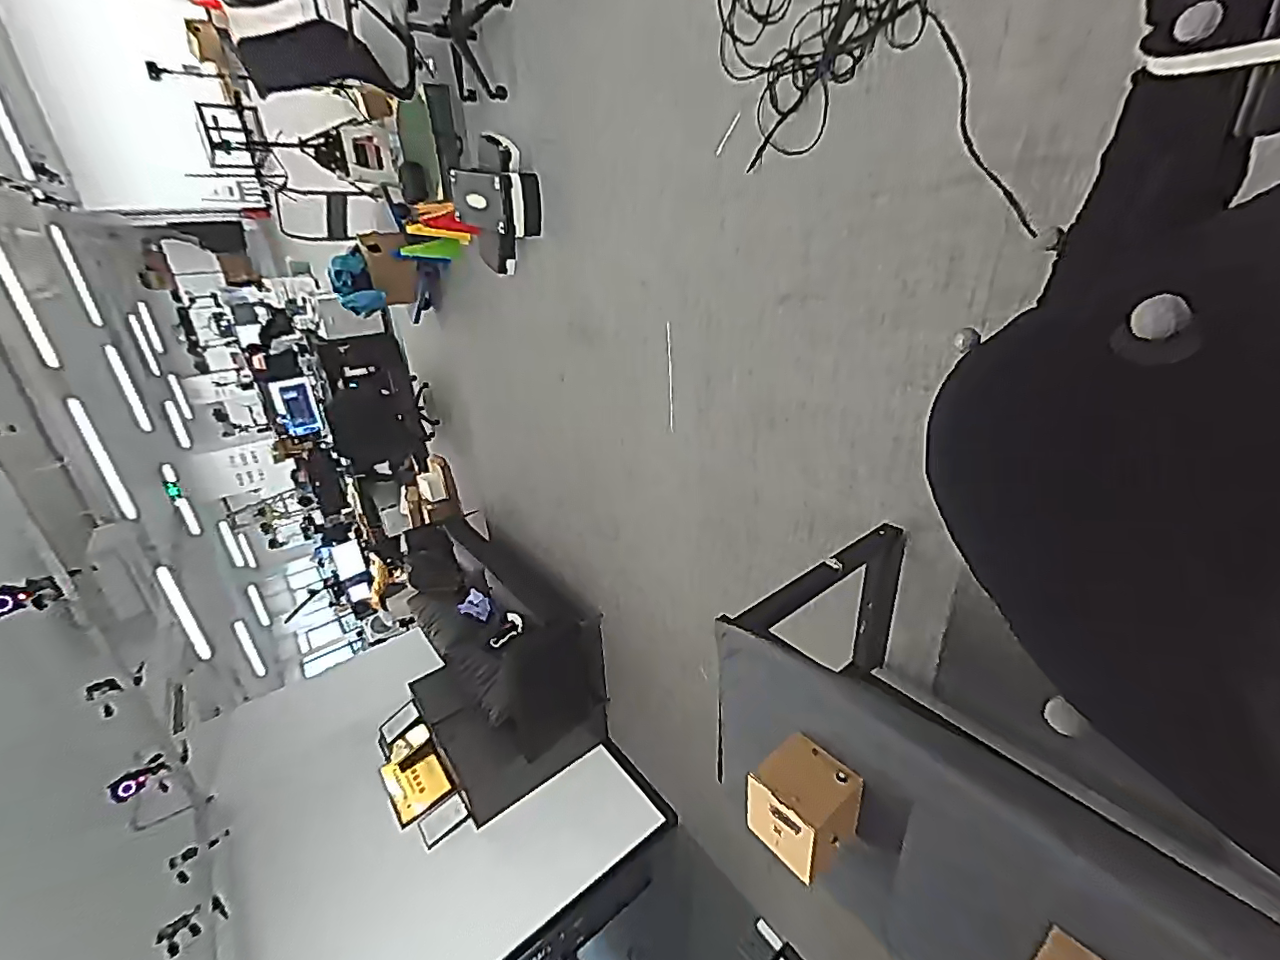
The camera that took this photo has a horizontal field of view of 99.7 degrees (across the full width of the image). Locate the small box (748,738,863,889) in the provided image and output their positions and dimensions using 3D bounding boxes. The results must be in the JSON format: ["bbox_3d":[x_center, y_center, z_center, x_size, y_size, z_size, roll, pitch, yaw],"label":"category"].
[{"bbox_3d":[0.349,0.692,1.142,0.168,0.176,0.179,25,128,47],"label":"small box"}]
